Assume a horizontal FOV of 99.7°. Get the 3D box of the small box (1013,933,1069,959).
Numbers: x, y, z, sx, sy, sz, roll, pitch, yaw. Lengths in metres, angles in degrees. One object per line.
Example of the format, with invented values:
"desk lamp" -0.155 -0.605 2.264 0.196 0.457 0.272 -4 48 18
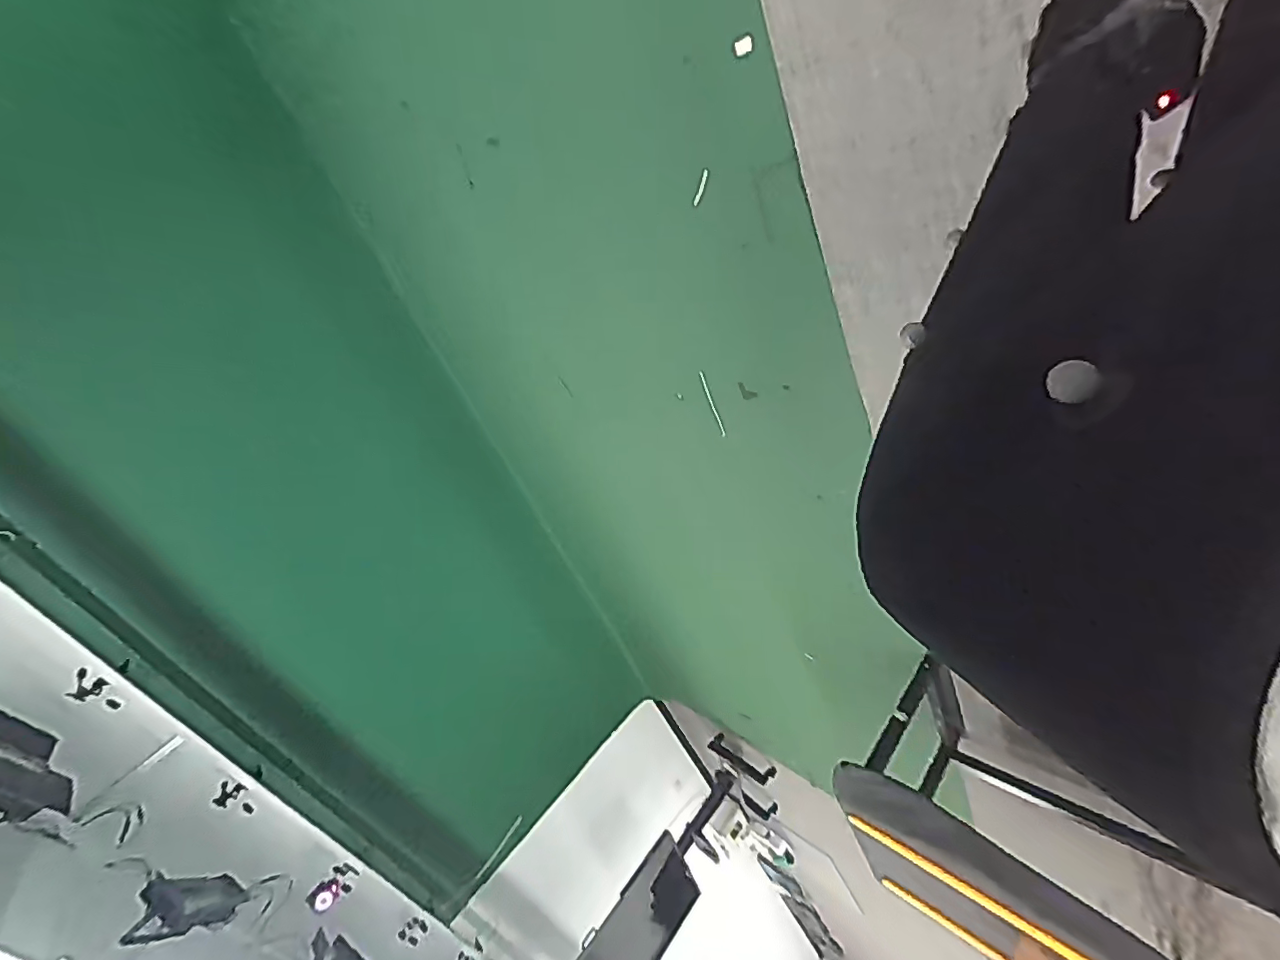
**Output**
"small box" 1.142 1.429 1.502 0.168 0.176 0.179 6 130 51
